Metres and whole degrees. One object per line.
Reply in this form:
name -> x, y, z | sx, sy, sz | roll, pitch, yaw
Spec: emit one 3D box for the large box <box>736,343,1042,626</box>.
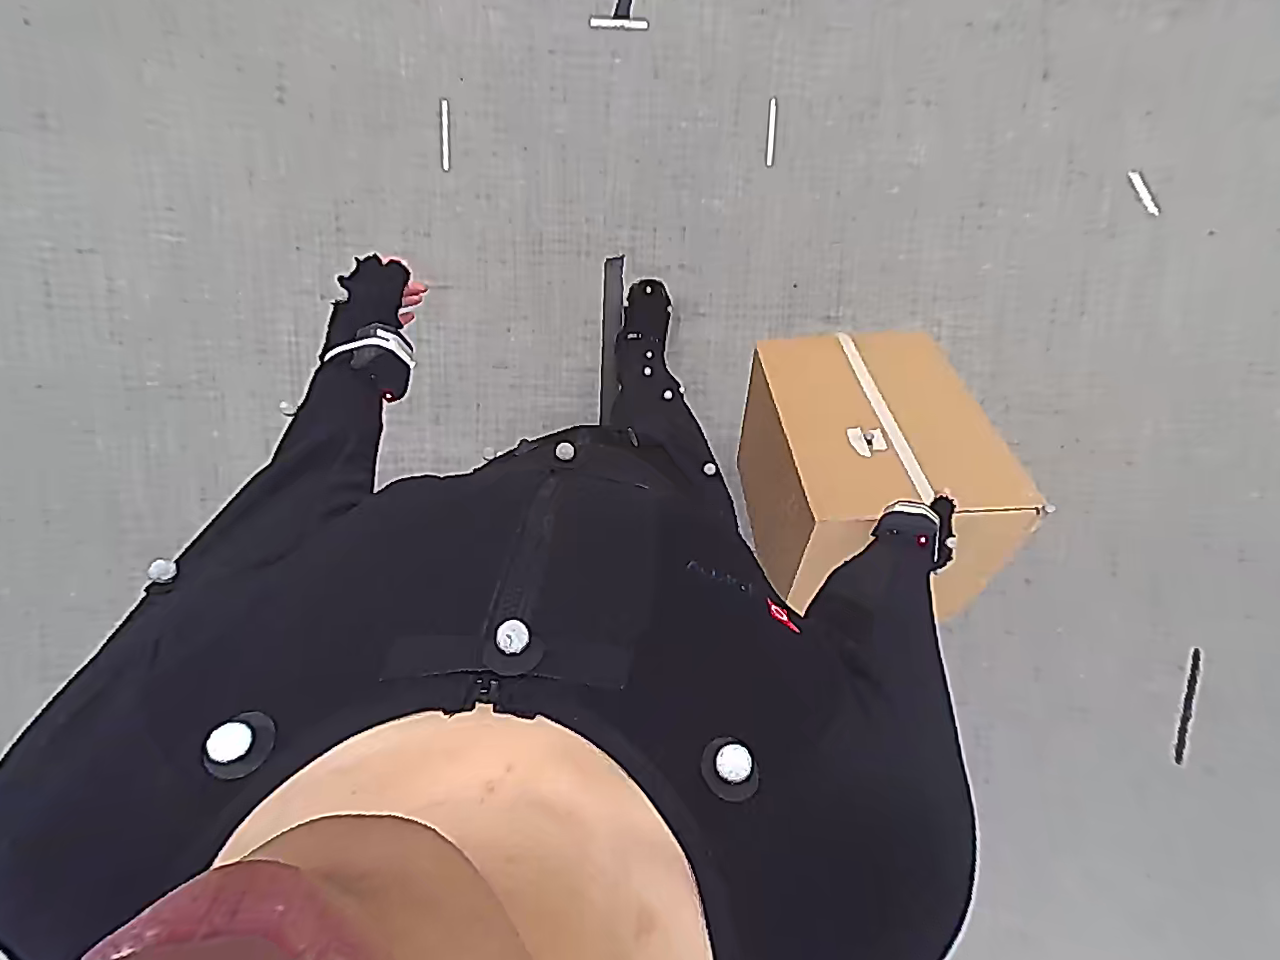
large box -> 0.377, 0.003, 0.963 | 0.320, 0.408, 0.320 | -4, 139, -2
